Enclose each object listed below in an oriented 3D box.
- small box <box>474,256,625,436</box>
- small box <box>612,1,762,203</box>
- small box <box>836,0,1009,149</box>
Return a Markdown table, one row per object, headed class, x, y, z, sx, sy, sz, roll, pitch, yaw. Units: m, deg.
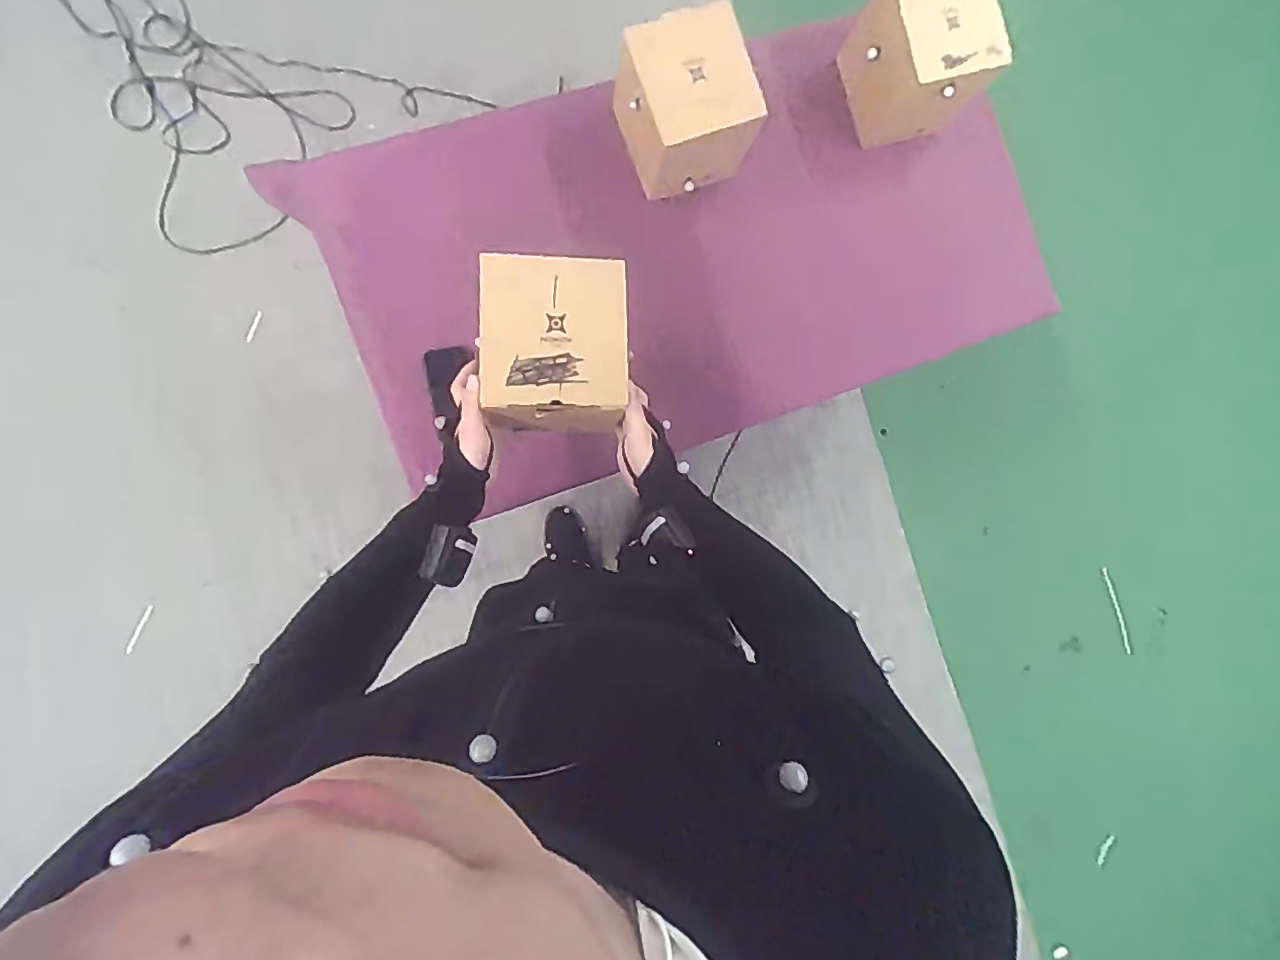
| class | x | y | z | sx | sy | sz | roll | pitch | yaw |
| --- | --- | --- | --- | --- | --- | --- | --- | --- | --- |
| small box | -0.109 | -0.152 | 0.675 | 0.168 | 0.176 | 0.179 | 0 | 85 | -9 |
| small box | 0.061 | -0.573 | 0.841 | 0.168 | 0.176 | 0.179 | -21 | 93 | -6 |
| small box | 0.452 | -0.694 | 0.891 | 0.168 | 0.176 | 0.179 | -18 | 91 | -6 |
